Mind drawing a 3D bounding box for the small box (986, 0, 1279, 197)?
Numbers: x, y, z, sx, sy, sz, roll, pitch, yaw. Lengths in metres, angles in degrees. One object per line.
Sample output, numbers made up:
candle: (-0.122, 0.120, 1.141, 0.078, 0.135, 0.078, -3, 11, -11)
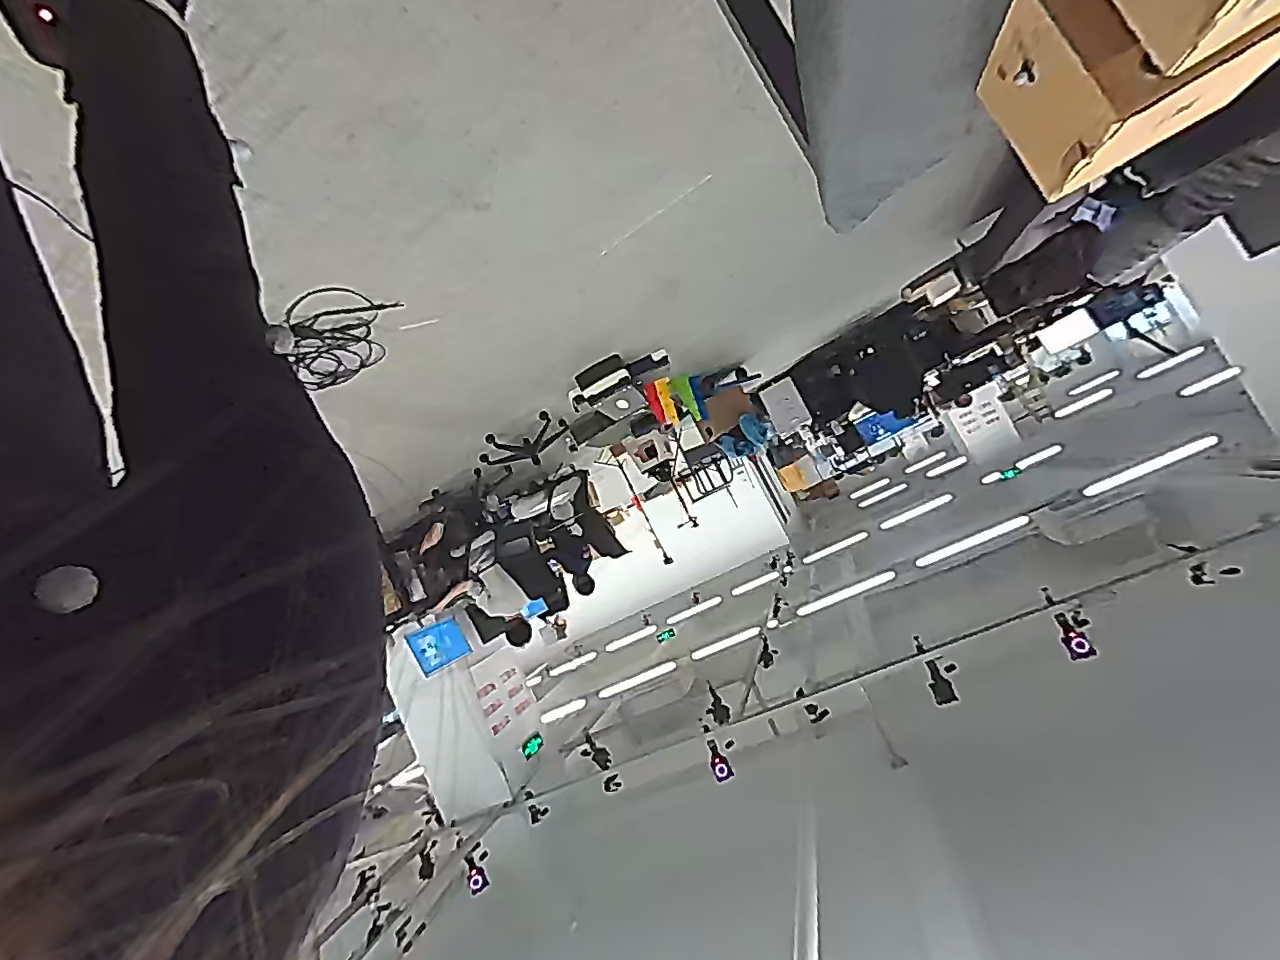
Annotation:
small box: (0.483, -0.429, 0.524, 0.179, 0.176, 0.168, -28, 174, 19)
